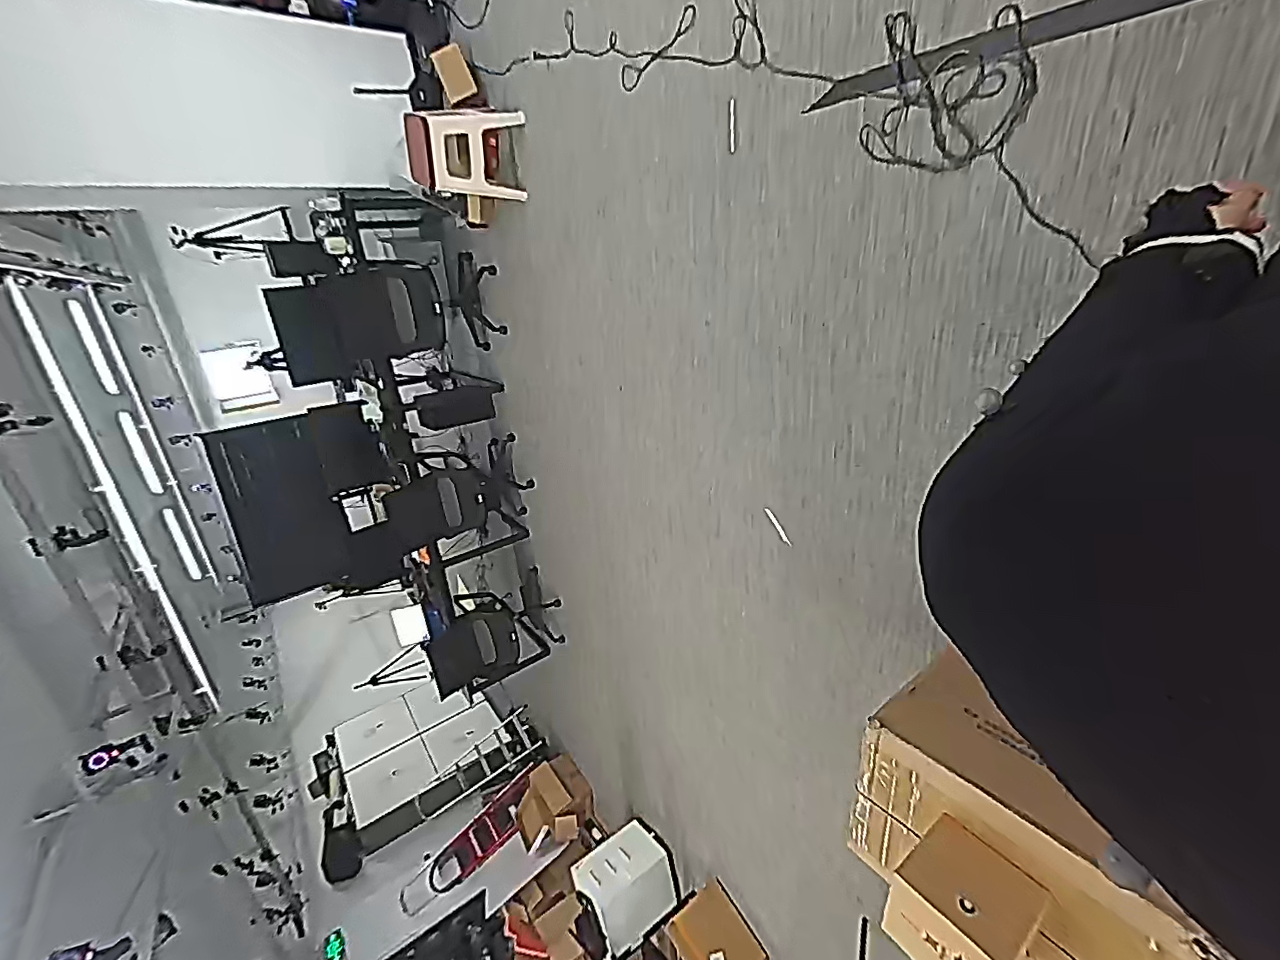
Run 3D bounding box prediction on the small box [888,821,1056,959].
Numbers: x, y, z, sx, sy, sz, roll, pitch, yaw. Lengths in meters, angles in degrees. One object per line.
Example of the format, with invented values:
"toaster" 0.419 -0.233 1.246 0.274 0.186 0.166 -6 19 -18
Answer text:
"small box" 0.550 0.727 0.902 0.179 0.176 0.168 28 128 49
